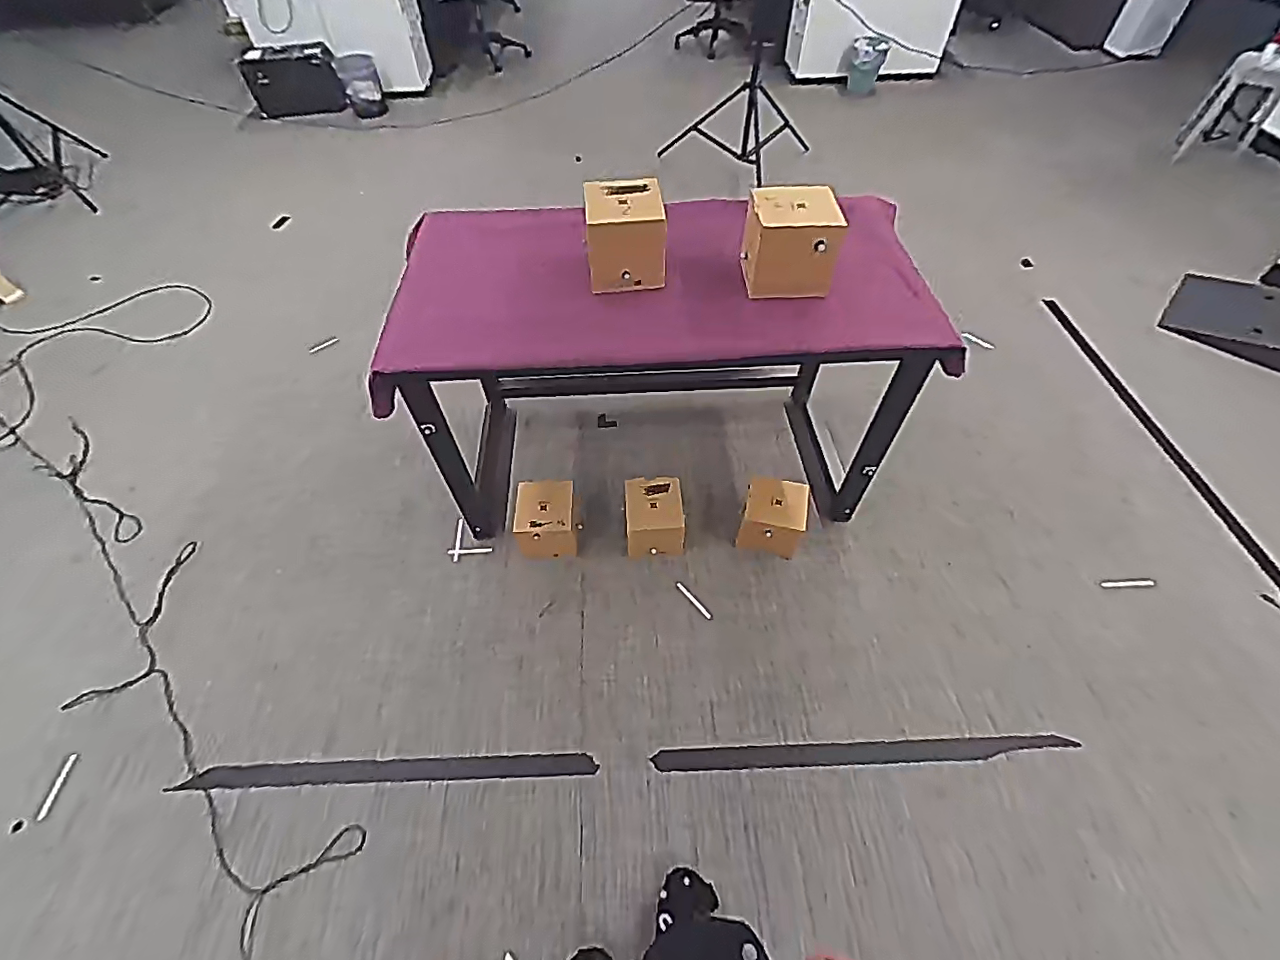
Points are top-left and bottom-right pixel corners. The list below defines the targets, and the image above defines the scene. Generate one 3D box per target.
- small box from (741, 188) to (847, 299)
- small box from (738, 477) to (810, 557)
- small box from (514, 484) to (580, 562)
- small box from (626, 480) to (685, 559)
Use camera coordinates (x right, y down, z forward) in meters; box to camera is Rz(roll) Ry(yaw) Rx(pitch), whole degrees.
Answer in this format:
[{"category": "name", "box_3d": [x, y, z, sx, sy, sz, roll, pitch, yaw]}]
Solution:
[{"category": "small box", "box_3d": [0.329, -0.518, 1.192, 0.179, 0.176, 0.168, -2, 53, 1]}, {"category": "small box", "box_3d": [0.401, 0.116, 1.631, 0.179, 0.176, 0.168, 10, 55, 10]}, {"category": "small box", "box_3d": [-0.273, 0.131, 1.633, 0.168, 0.176, 0.179, -1, 52, 0]}, {"category": "small box", "box_3d": [0.043, 0.120, 1.633, 0.168, 0.176, 0.179, -3, 54, -1]}]
